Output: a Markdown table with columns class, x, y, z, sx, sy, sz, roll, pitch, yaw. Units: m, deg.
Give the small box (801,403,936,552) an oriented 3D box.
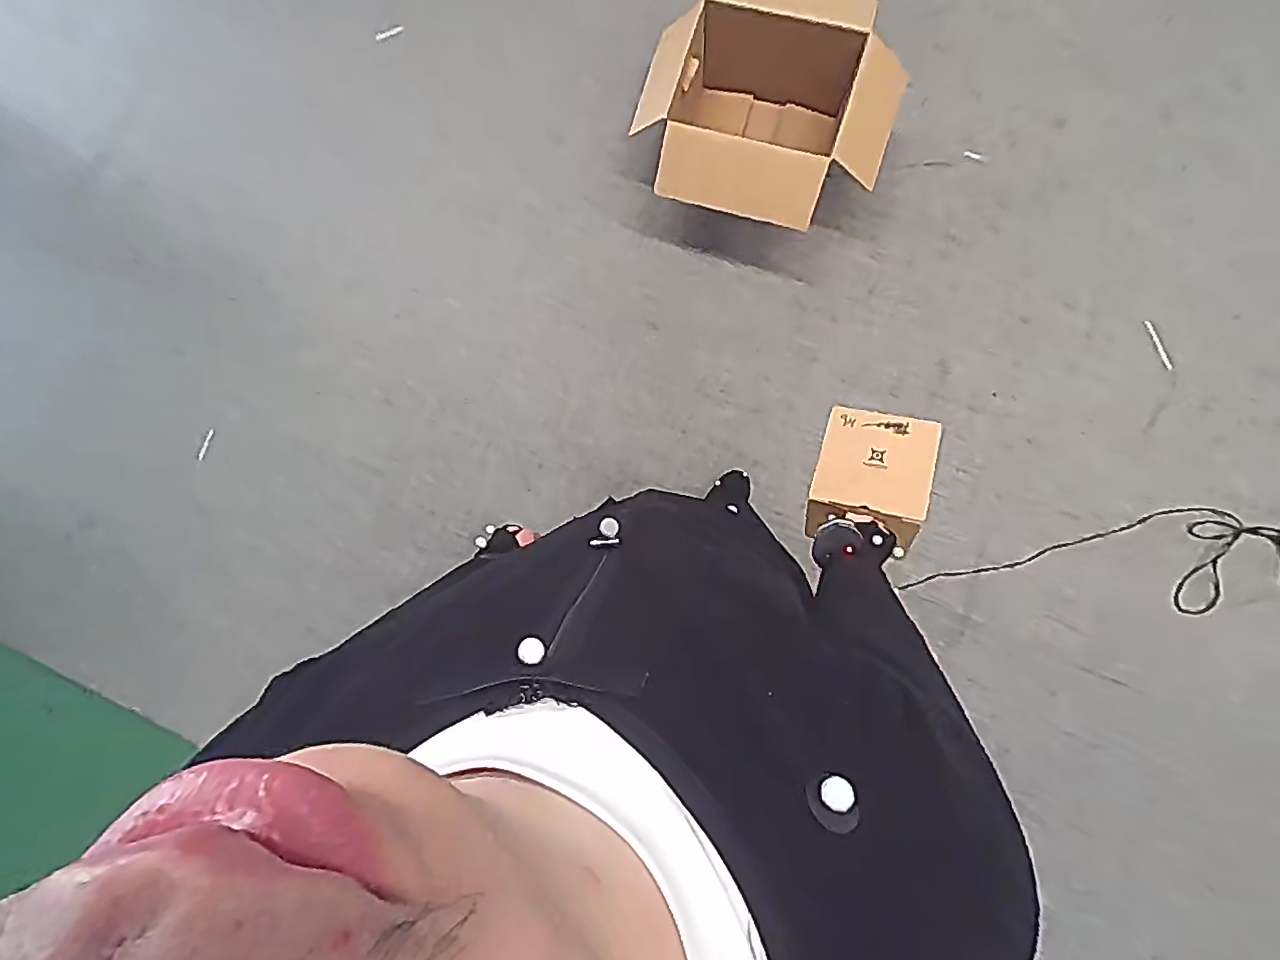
| class | x | y | z | sx | sy | sz | roll | pitch | yaw |
| --- | --- | --- | --- | --- | --- | --- | --- | --- | --- |
| small box | 0.369 | 0.002 | 0.895 | 0.168 | 0.176 | 0.179 | 14 | 68 | 21 |
